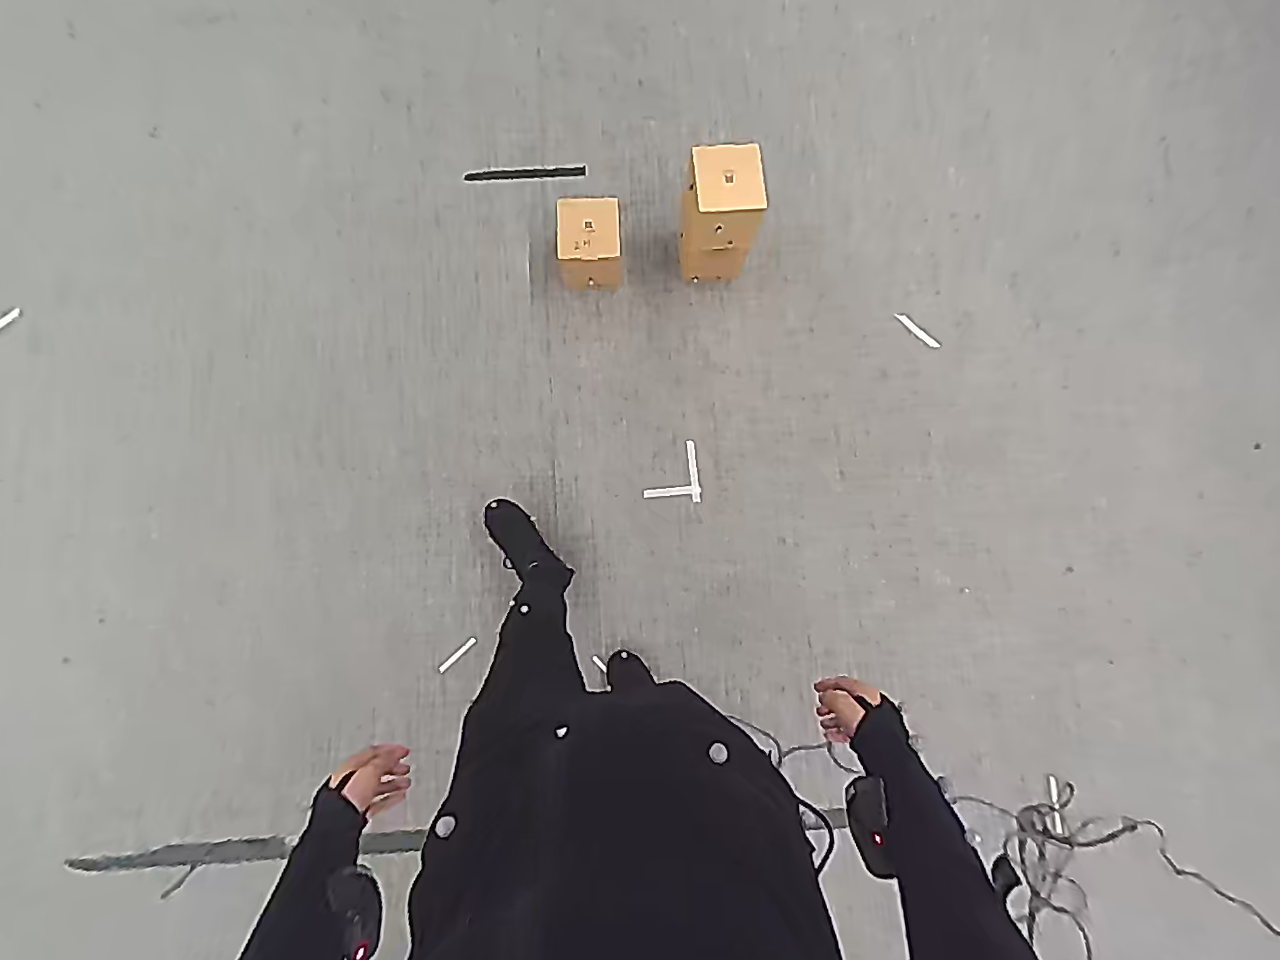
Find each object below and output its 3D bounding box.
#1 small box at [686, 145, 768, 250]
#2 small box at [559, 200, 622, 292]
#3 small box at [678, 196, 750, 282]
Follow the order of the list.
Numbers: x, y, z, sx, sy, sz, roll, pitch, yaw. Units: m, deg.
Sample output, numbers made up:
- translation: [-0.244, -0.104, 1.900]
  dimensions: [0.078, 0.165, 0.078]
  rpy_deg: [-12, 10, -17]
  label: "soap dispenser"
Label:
- translation: [0.211, -0.697, 1.356]
  dimensions: [0.168, 0.176, 0.179]
  rpy_deg: [-5, 80, -3]
  label: "small box"
- translation: [-0.136, -0.645, 1.500]
  dimensions: [0.168, 0.176, 0.179]
  rpy_deg: [-2, 82, -2]
  label: "small box"
- translation: [0.203, -0.671, 1.516]
  dimensions: [0.168, 0.176, 0.179]
  rpy_deg: [-5, 80, -3]
  label: "small box"
